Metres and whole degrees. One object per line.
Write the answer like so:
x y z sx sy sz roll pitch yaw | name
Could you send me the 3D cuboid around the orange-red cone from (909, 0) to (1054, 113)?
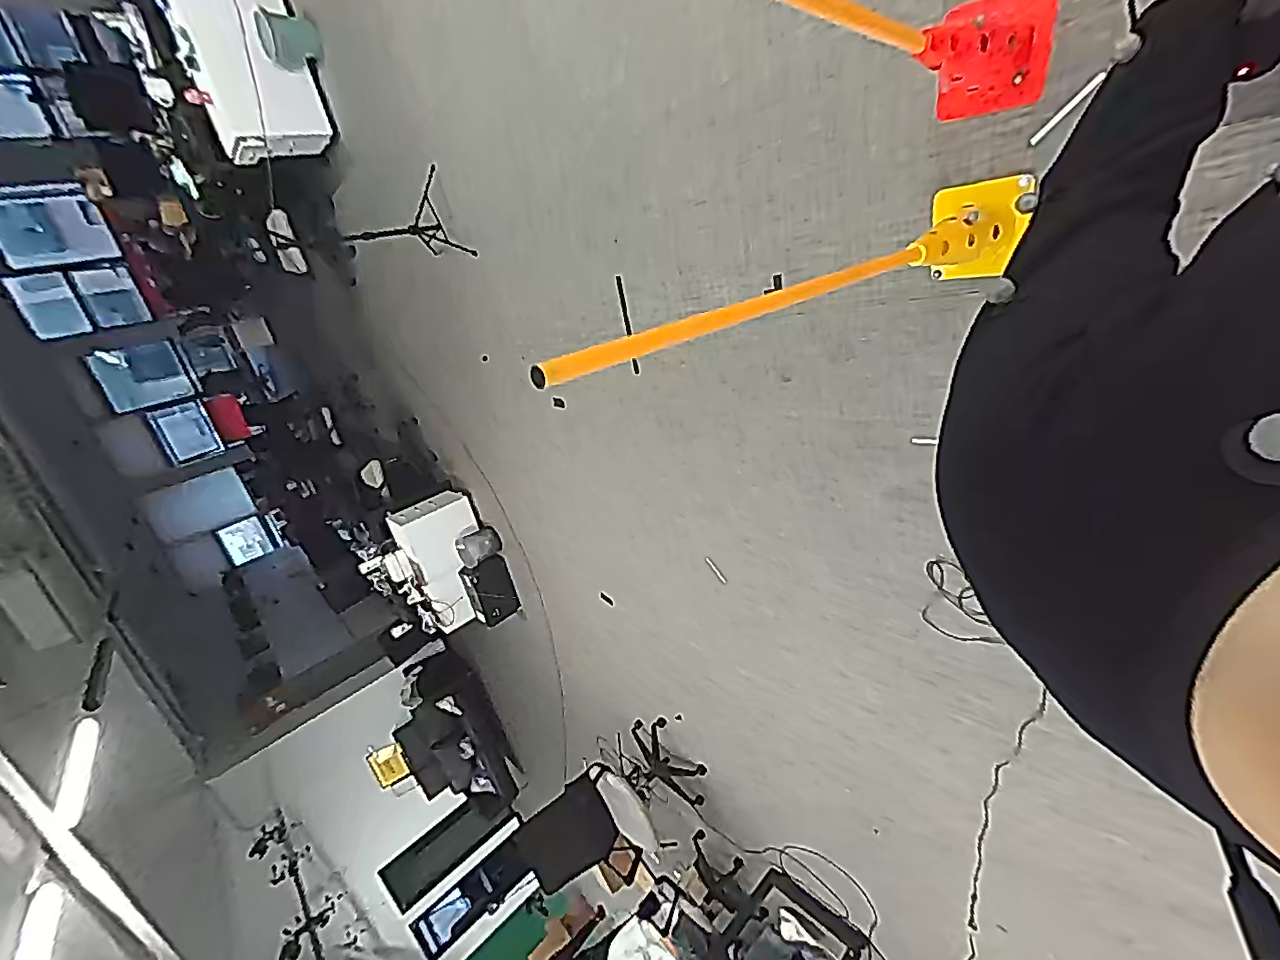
0.582 -0.801 0.986 0.198 0.360 0.199 19 127 42 | orange-red cone
